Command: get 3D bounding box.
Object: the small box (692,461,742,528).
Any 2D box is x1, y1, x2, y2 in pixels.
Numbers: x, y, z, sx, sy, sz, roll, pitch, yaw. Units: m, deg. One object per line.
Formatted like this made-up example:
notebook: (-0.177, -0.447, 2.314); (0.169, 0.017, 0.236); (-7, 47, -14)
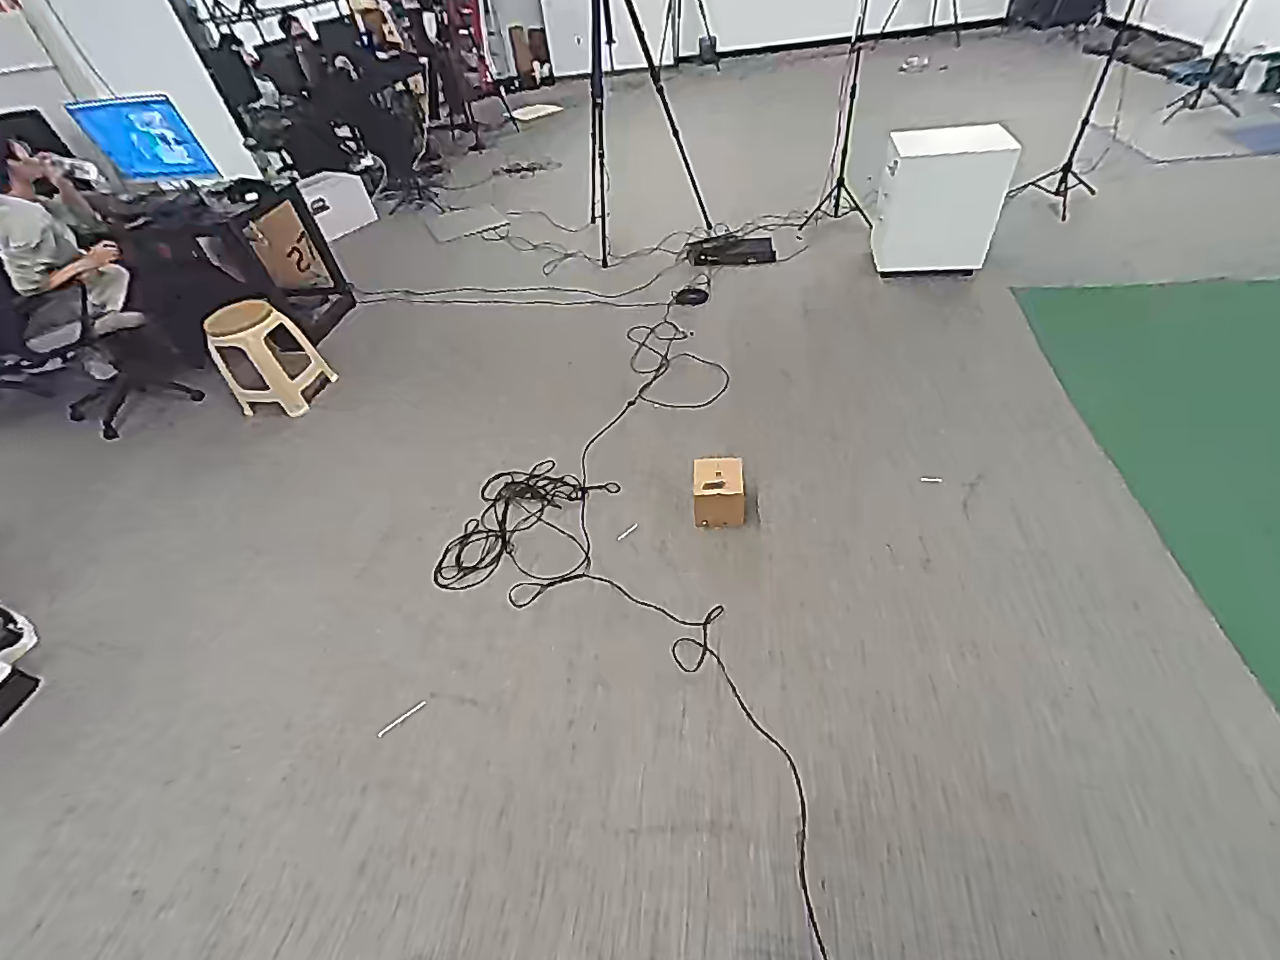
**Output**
small box: (0.270, 0.053, 1.883); (0.168, 0.176, 0.179); (0, 45, 8)
